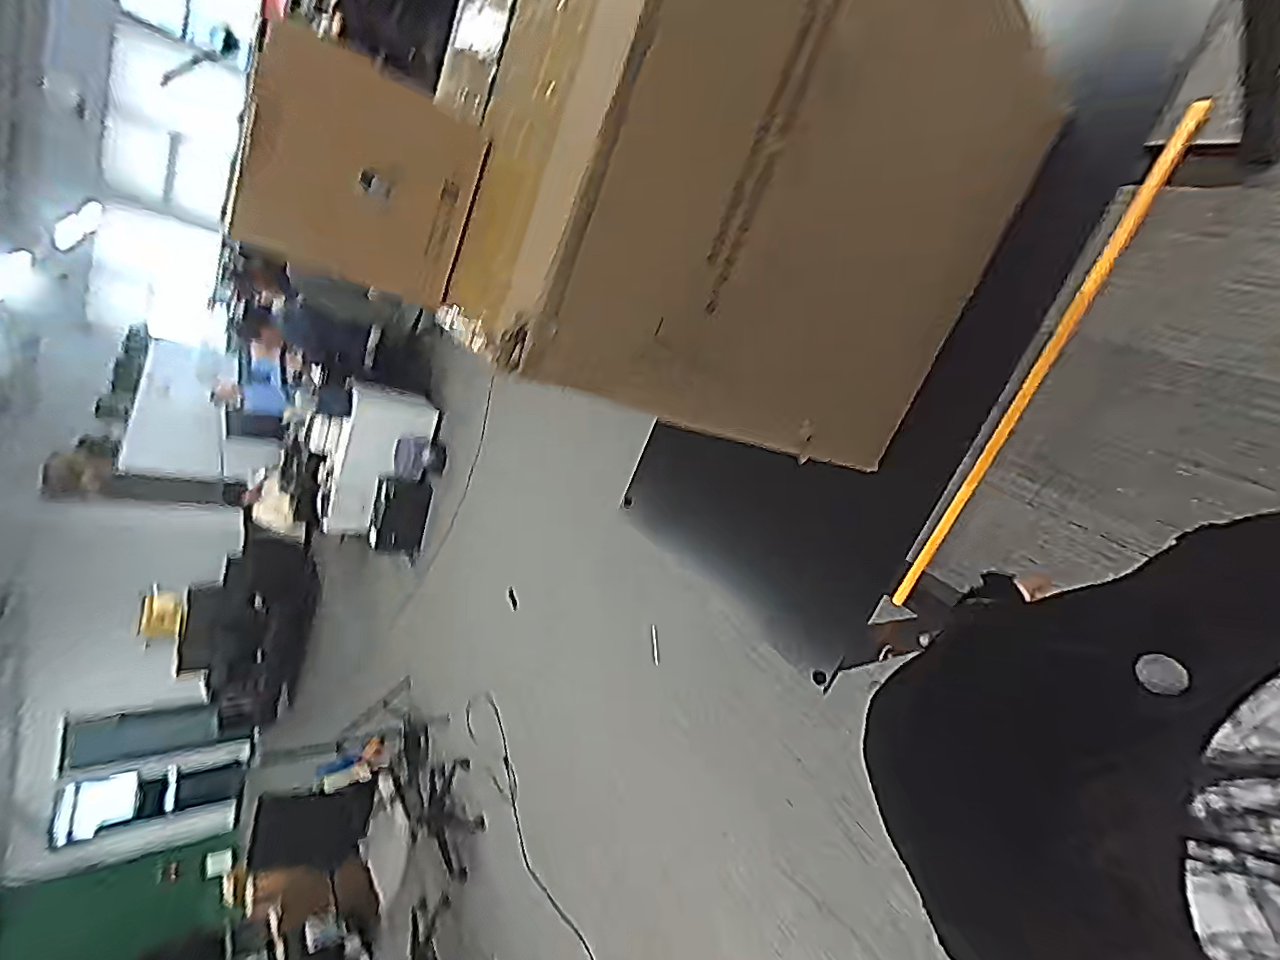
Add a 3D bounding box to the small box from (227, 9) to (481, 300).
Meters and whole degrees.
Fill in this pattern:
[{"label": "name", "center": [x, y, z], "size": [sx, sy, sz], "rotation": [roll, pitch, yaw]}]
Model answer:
[{"label": "small box", "center": [-0.271, -0.285, 0.510], "size": [0.179, 0.176, 0.168], "rotation": [38, 111, 46]}]
